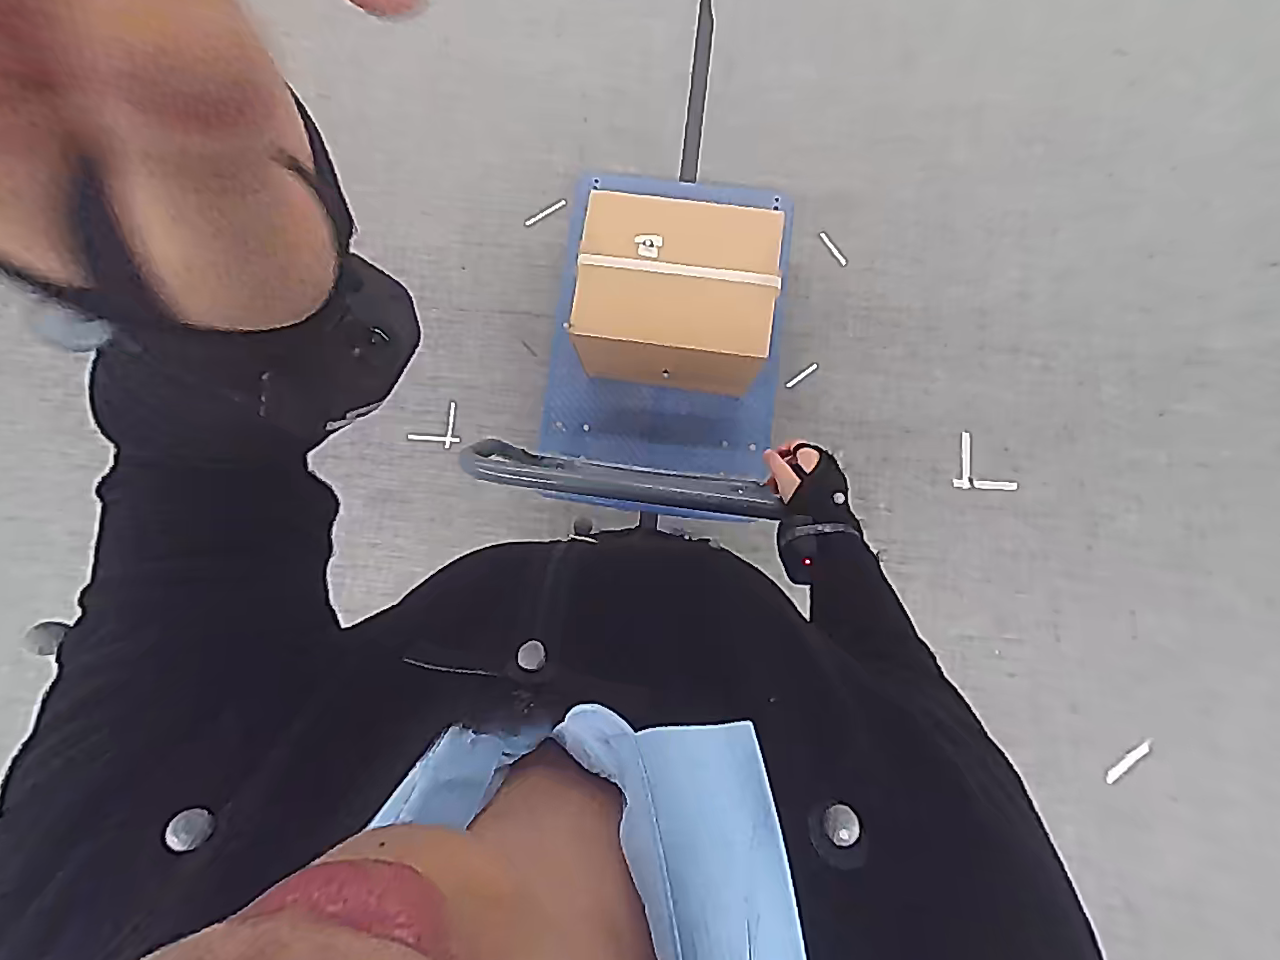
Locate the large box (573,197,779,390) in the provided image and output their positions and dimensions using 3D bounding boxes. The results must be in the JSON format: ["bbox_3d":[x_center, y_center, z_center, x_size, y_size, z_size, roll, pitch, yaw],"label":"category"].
[{"bbox_3d":[0.083,-0.412,1.262,0.408,0.320,0.320,7,83,4],"label":"large box"}]
